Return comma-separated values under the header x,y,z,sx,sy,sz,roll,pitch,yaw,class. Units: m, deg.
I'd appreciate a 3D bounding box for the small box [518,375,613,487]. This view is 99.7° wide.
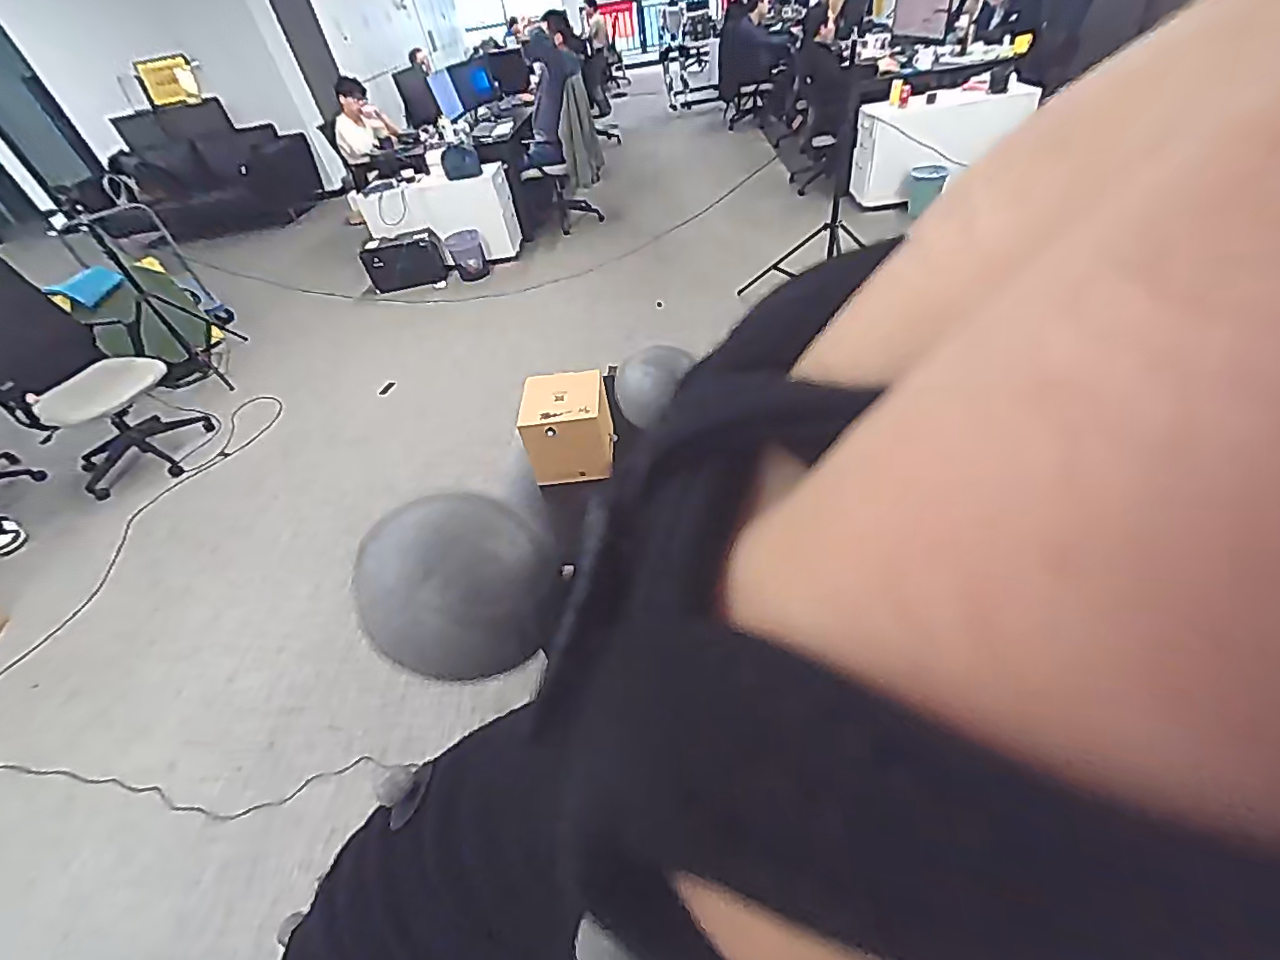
x,y,z,sx,sy,sz,roll,pitch,yaw,class
-0.153,-0.106,1.174,0.168,0.176,0.179,-6,42,4,small box
